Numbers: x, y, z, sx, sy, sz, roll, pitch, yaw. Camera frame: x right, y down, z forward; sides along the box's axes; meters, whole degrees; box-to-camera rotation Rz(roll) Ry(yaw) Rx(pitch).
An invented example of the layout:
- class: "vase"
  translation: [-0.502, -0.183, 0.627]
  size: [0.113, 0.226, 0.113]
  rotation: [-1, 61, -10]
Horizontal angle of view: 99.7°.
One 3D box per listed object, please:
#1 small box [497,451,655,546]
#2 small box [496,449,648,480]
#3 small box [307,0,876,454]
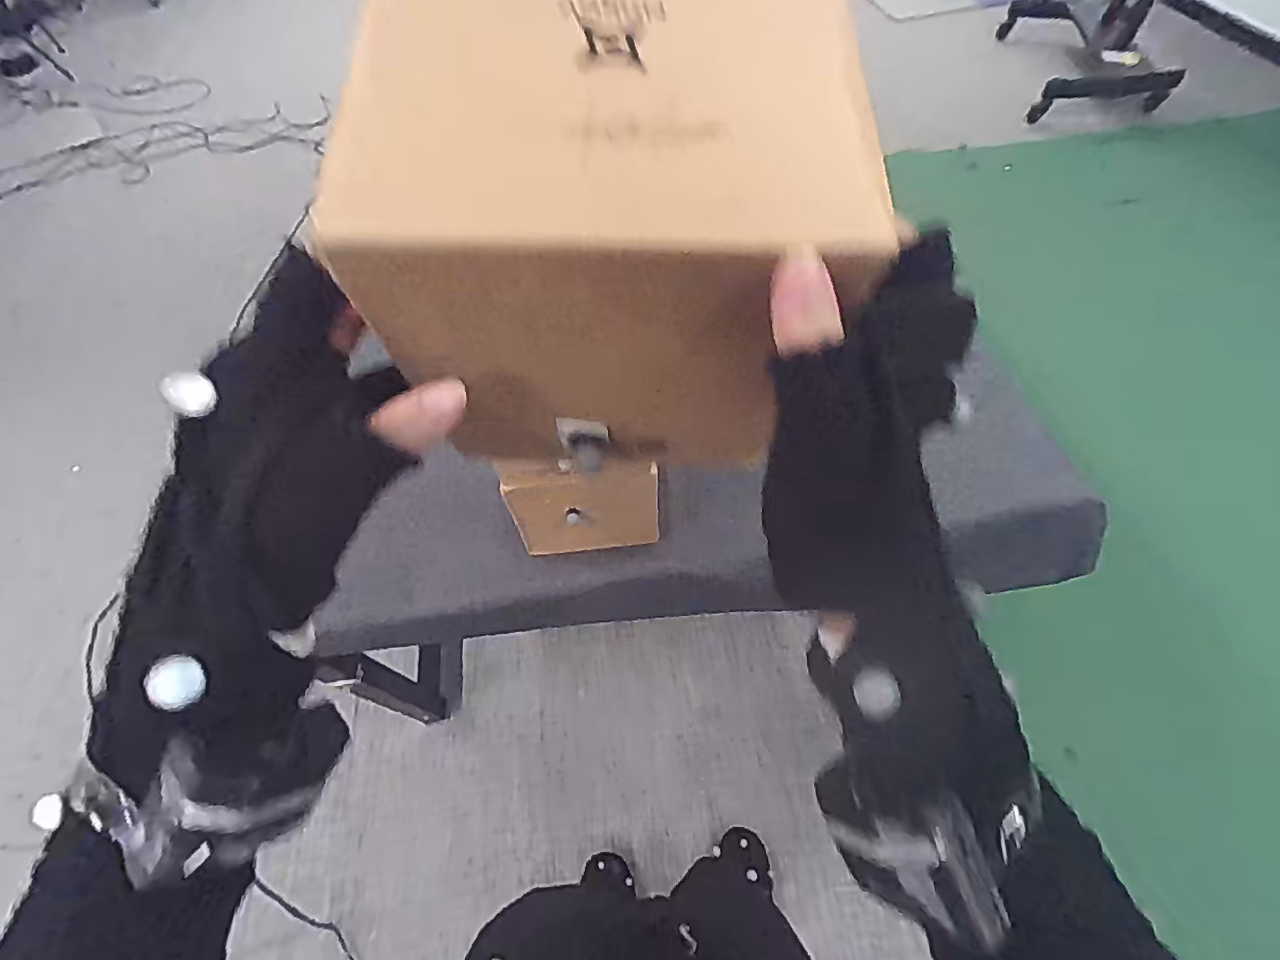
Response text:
- class: "small box"
  translation: [-0.075, -0.023, 0.708]
  size: [0.179, 0.176, 0.168]
  rotation: [-5, 57, -1]
- class: "small box"
  translation: [-0.078, -0.119, 0.573]
  size: [0.168, 0.176, 0.179]
  rotation: [-4, 57, -1]
- class: "small box"
  translation: [-0.017, -0.125, 0.257]
  size: [0.168, 0.176, 0.179]
  rotation: [-1, 71, -2]
